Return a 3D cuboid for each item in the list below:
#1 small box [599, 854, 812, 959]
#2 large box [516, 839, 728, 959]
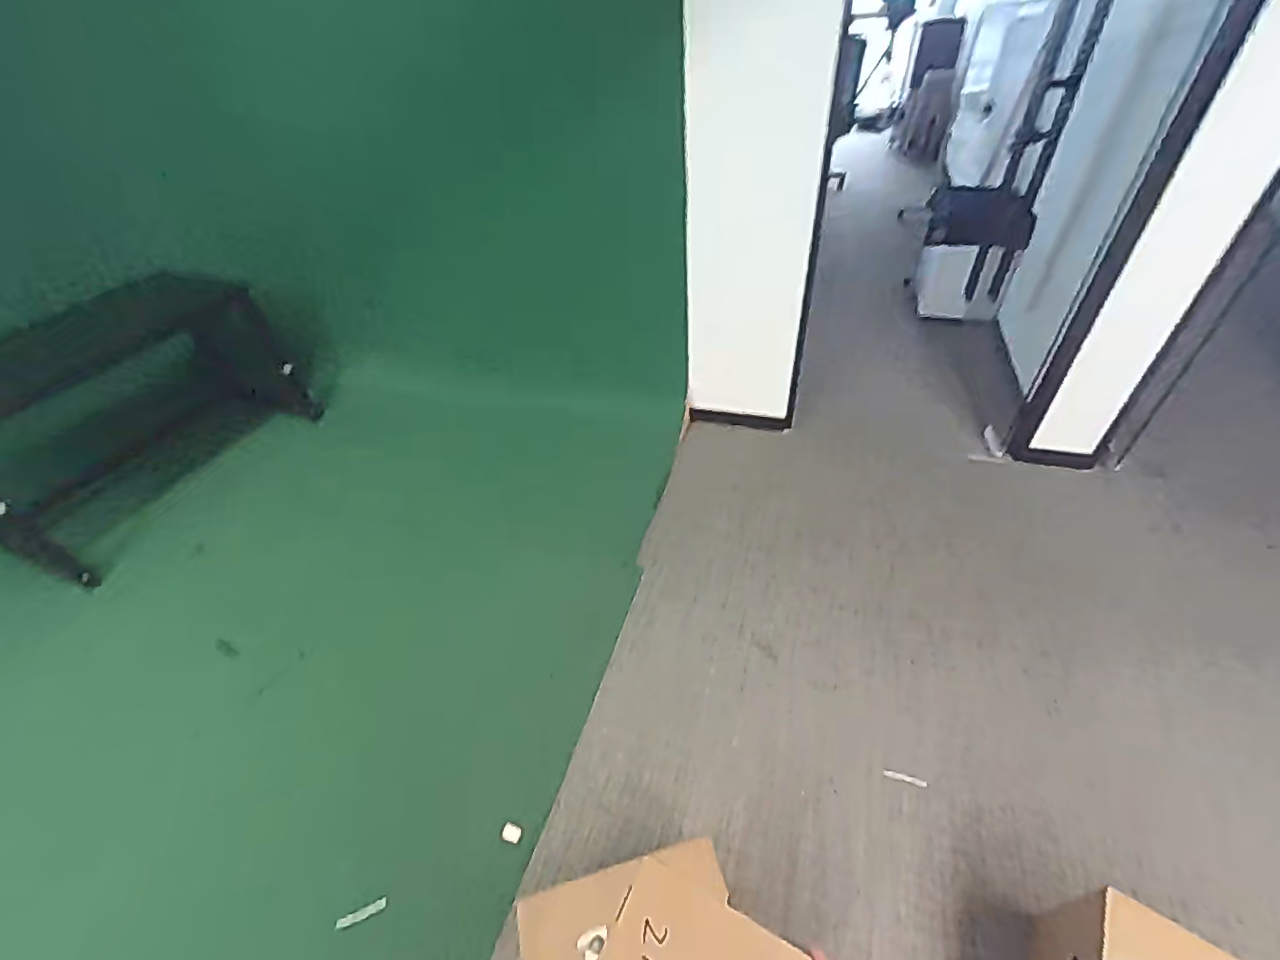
[{"bbox_3d":[0.043,0.500,0.513,0.179,0.176,0.168,23,50,18],"label":"small box"},{"bbox_3d":[0.004,0.986,1.067,0.408,0.320,0.320,-14,42,-8],"label":"large box"}]
